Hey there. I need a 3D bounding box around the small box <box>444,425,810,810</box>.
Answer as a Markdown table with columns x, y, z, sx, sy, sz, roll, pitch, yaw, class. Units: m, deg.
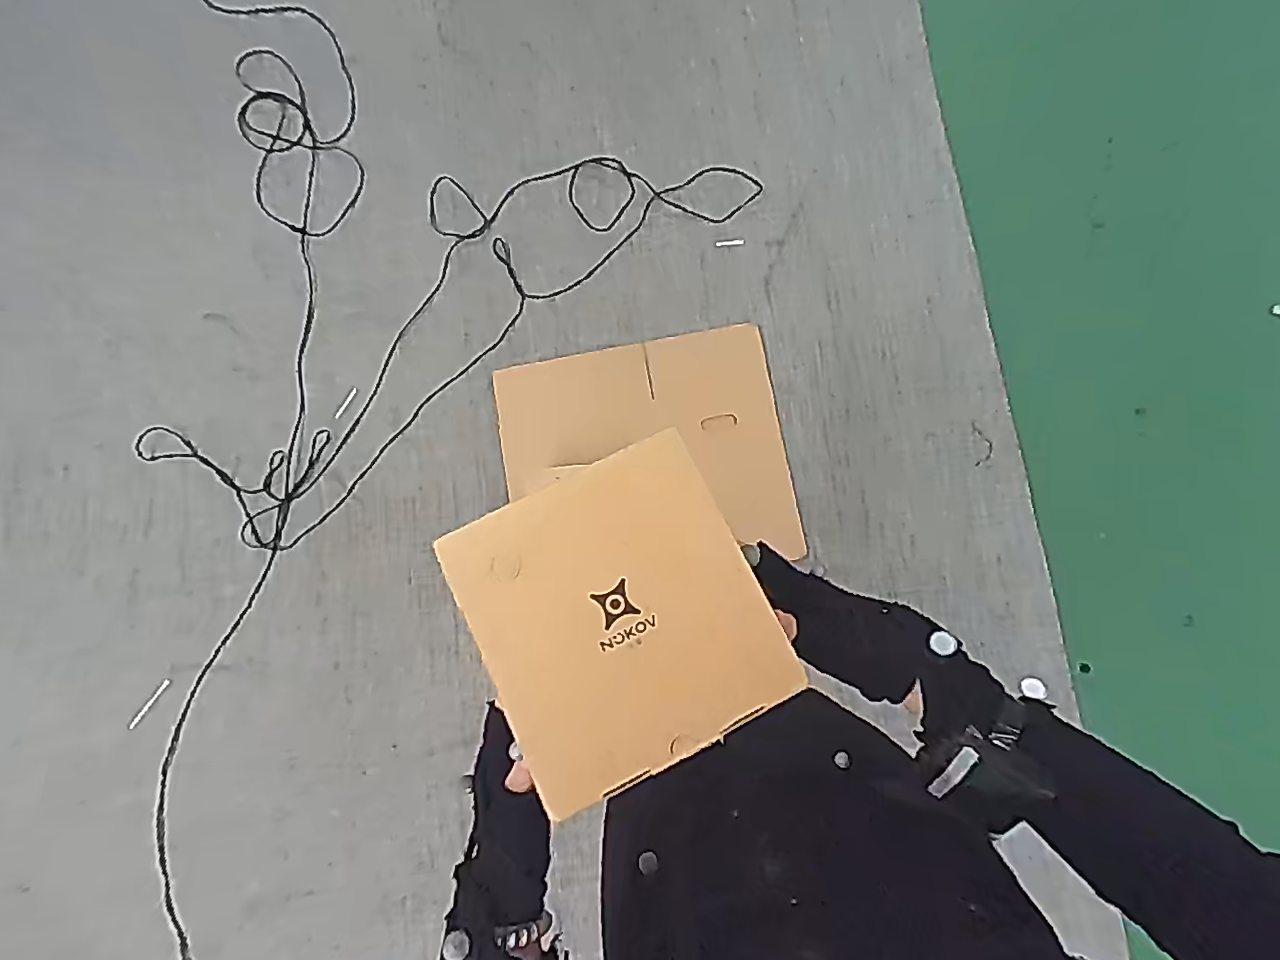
| x | y | z | sx | sy | sz | roll | pitch | yaw | class |
| --- | --- | --- | --- | --- | --- | --- | --- | --- | --- |
| -0.012 | 0.089 | 0.398 | 0.168 | 0.176 | 0.179 | -27 | 82 | -6 | small box |
